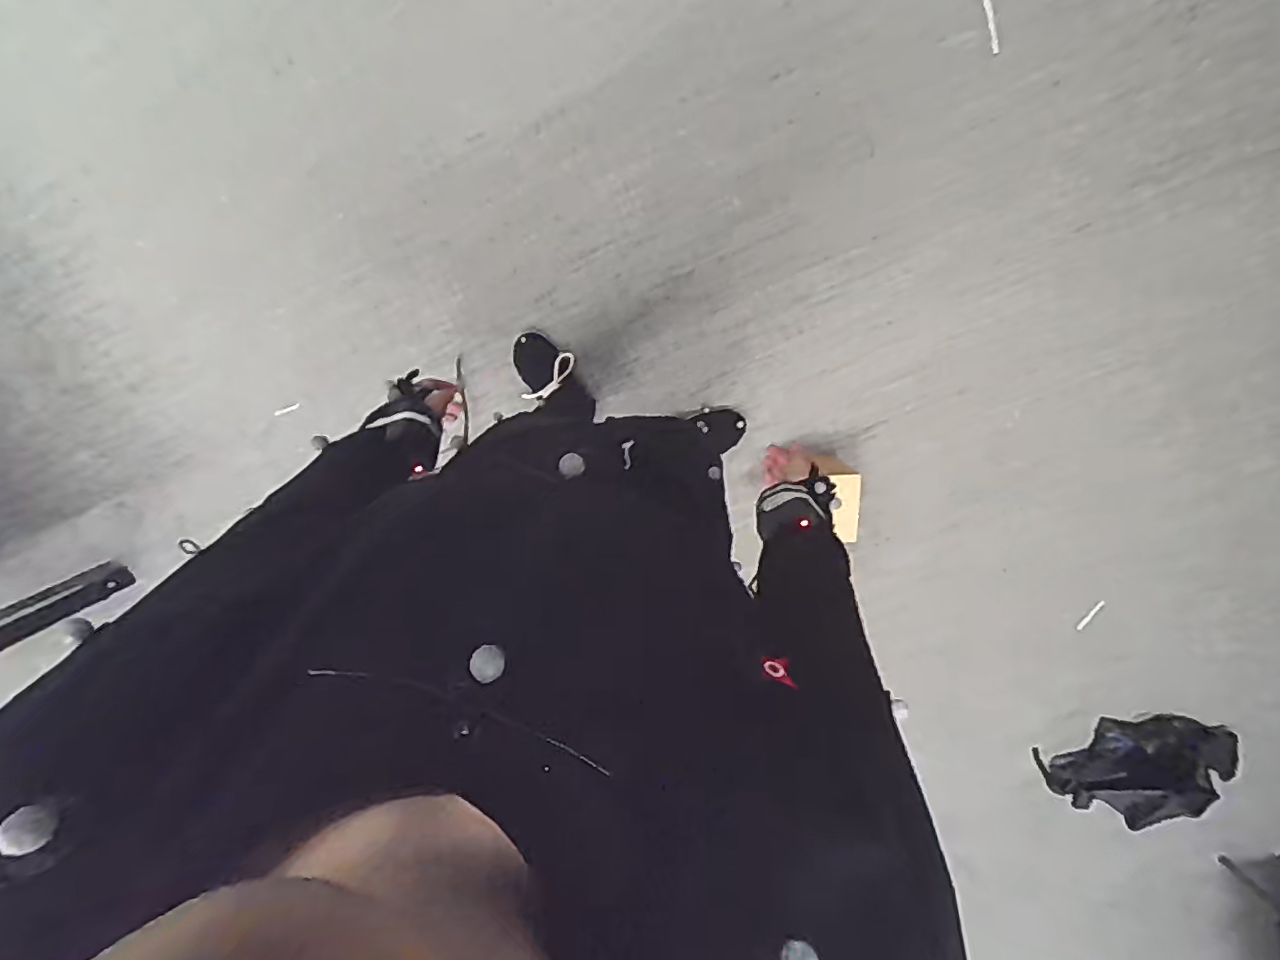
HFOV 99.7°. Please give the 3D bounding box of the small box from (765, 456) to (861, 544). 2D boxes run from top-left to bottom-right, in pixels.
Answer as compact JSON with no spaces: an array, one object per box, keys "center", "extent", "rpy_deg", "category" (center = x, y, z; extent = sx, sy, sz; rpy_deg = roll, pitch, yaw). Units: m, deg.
[{"center":[0.404,0.042,1.286],"extent":[0.179,0.176,0.168],"rpy_deg":[-1,107,3],"category":"small box"}]
